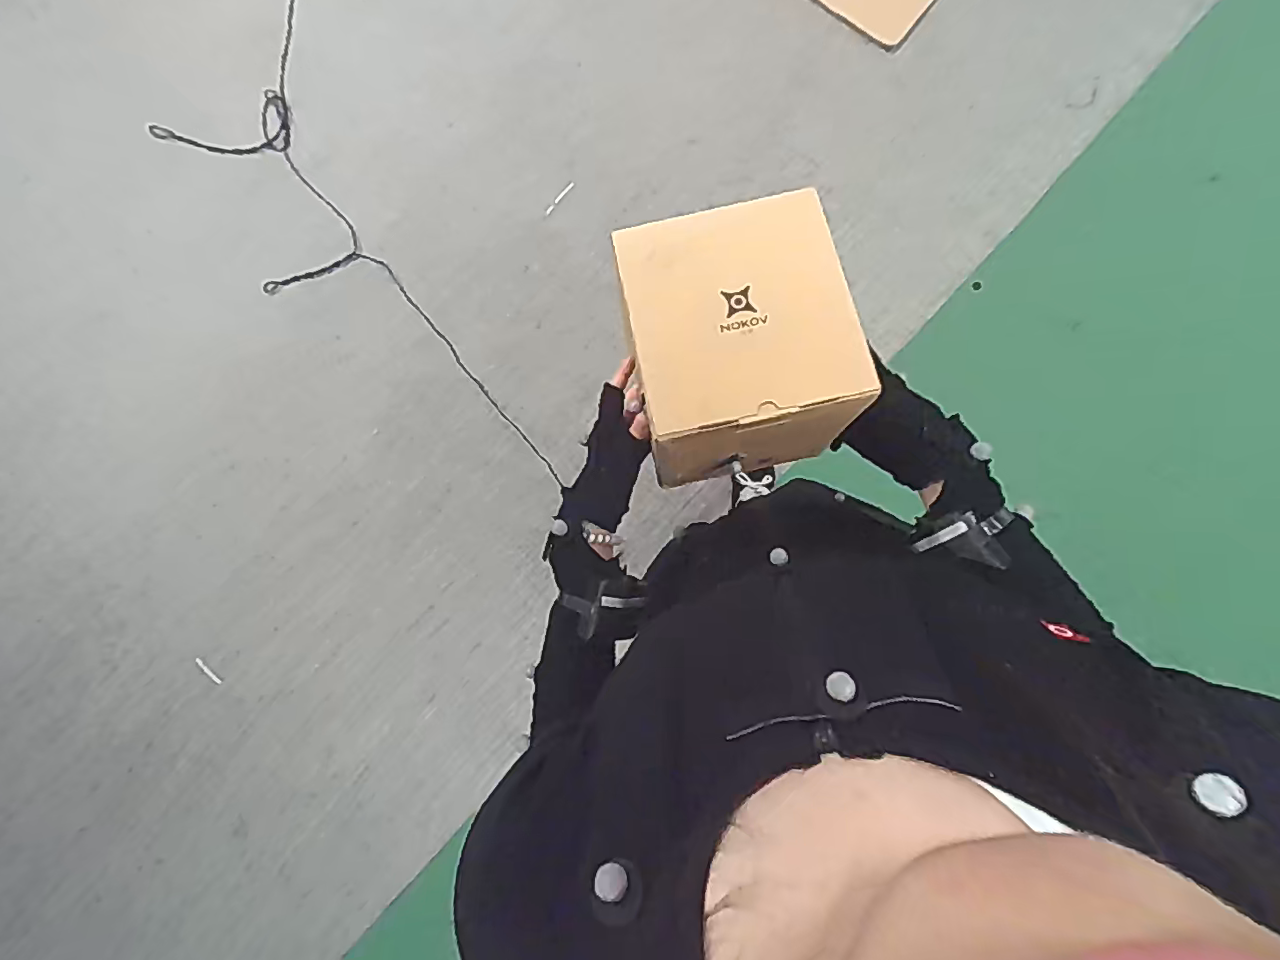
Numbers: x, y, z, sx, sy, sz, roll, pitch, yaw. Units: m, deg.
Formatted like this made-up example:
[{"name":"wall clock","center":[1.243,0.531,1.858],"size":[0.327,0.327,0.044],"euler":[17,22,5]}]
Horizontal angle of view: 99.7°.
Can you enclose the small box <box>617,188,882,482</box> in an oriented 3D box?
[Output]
[{"name":"small box","center":[0.080,-0.112,0.480],"size":[0.168,0.176,0.179],"euler":[-13,78,1]}]
